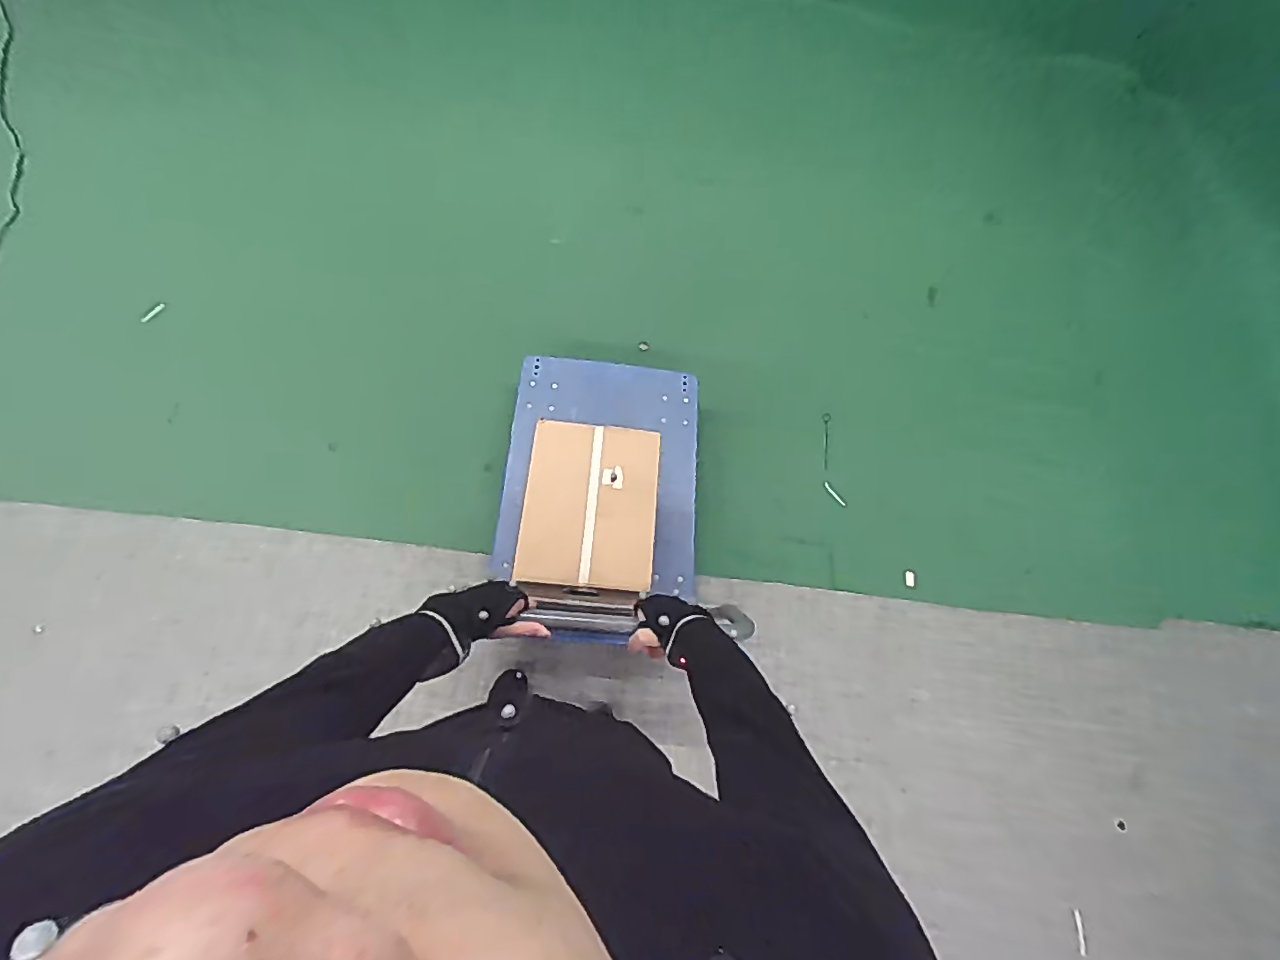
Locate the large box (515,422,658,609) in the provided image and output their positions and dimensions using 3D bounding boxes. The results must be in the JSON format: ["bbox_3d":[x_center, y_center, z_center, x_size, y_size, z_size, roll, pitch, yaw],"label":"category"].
[{"bbox_3d":[-0.131,0.109,1.413,0.320,0.320,0.408,6,68,-5],"label":"large box"}]
